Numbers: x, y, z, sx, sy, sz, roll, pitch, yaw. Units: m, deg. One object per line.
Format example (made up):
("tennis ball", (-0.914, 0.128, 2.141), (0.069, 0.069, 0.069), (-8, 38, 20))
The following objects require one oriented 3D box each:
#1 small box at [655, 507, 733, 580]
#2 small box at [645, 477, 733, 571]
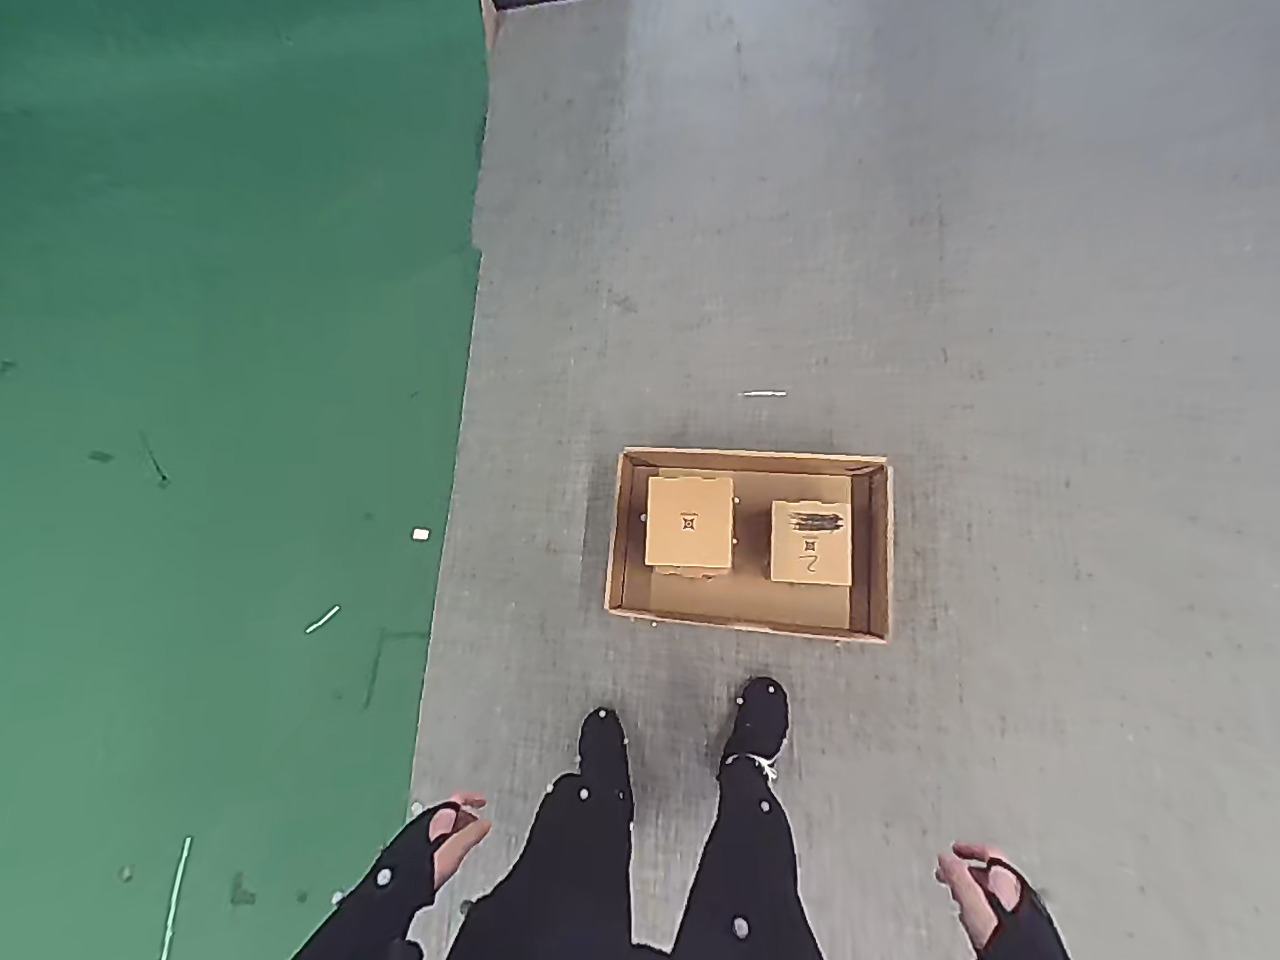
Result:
("small box", (0.133, 0.143, 1.273), (0.168, 0.176, 0.179), (2, 79, 9))
("small box", (0.107, 0.096, 1.119), (0.168, 0.176, 0.179), (1, 78, 9))
